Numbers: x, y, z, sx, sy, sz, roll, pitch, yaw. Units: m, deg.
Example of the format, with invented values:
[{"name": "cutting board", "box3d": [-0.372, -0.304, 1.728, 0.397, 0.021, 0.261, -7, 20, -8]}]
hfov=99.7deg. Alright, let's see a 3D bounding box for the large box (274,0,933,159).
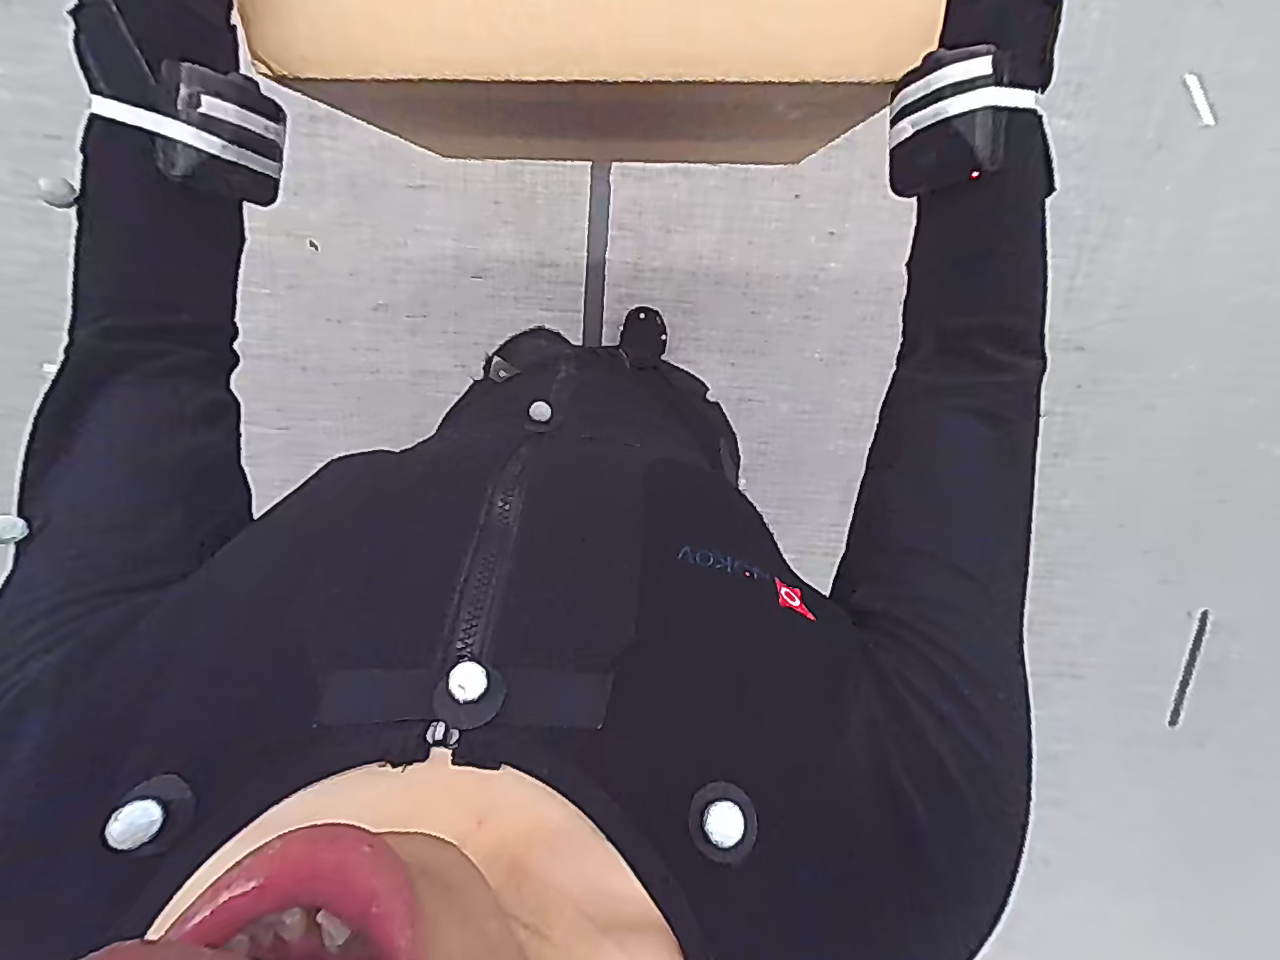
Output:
[{"name": "large box", "box3d": [-0.023, -0.454, 0.417, 0.408, 0.320, 0.320, 1, 113, 1]}]
